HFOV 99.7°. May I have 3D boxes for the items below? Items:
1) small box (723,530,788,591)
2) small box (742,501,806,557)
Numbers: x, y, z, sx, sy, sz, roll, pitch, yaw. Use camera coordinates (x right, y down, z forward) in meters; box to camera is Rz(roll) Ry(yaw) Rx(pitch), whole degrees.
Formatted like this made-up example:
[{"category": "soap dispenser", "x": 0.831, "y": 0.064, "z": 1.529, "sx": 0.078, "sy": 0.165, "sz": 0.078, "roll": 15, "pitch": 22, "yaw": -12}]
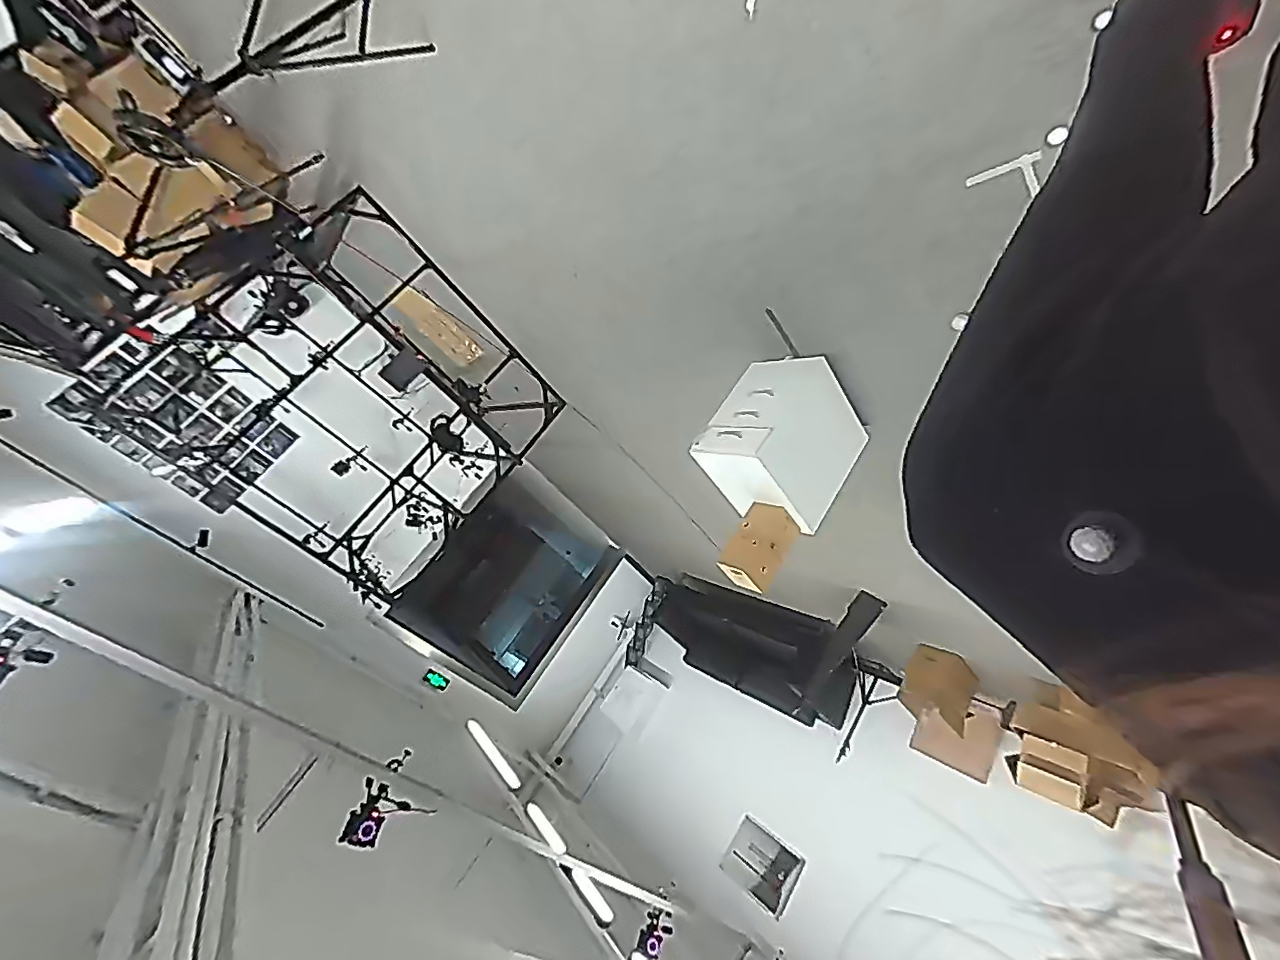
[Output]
[{"category": "small box", "x": 0.489, "y": 0.335, "z": 2.276, "sx": 0.179, "sy": 0.176, "sz": 0.168, "roll": 46, "pitch": 161, "yaw": -30}, {"category": "small box", "x": 0.579, "y": 0.207, "z": 2.329, "sx": 0.168, "sy": 0.176, "sz": 0.179, "roll": 46, "pitch": 161, "yaw": -29}]
